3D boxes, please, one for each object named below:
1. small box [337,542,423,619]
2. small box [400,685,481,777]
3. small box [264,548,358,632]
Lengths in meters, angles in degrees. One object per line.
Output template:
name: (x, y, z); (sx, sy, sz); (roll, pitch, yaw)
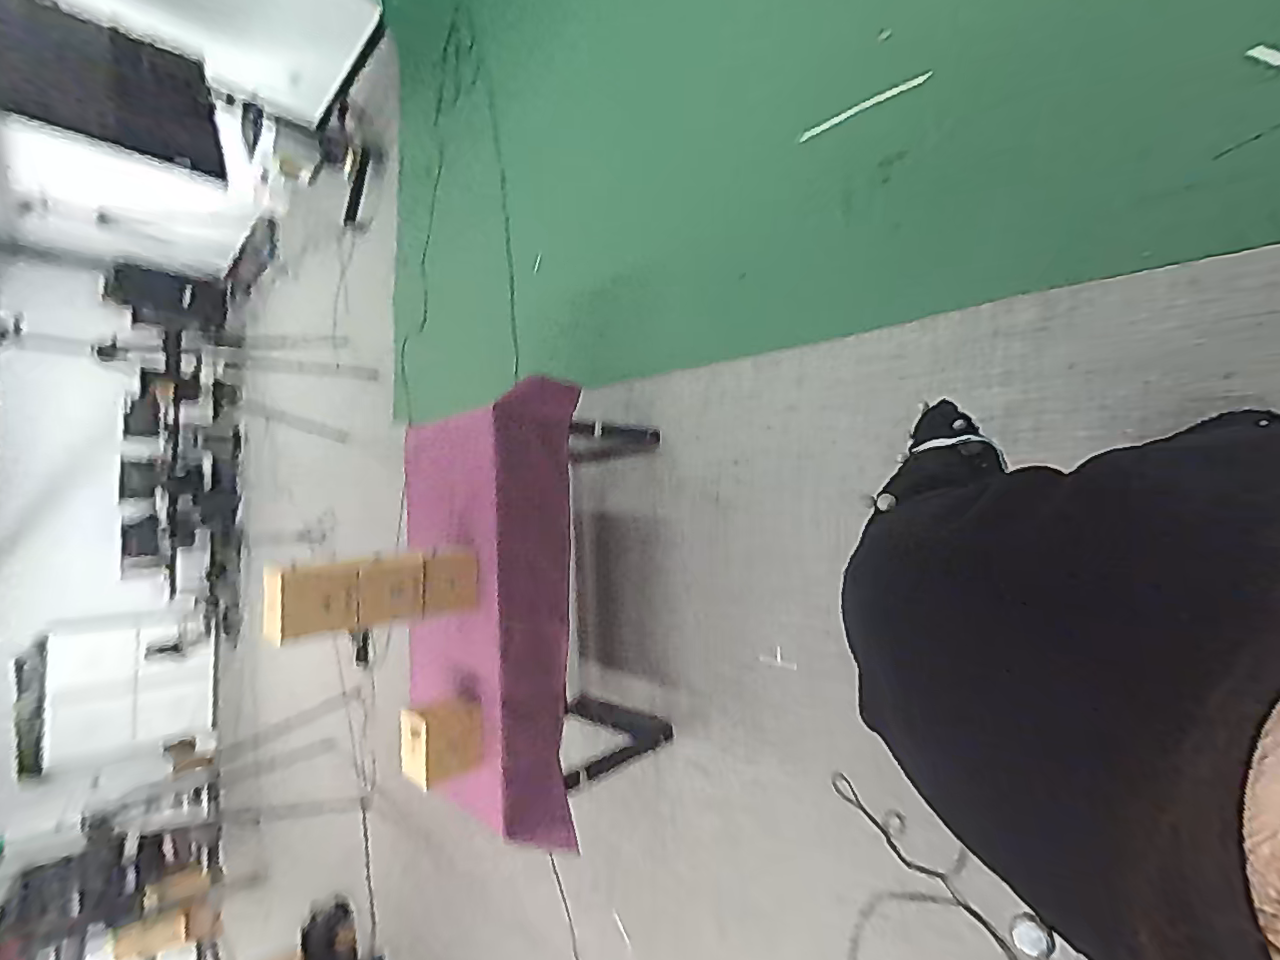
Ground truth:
small box: (-0.707, 0.265, 1.473); (0.179, 0.176, 0.168); (4, 92, 43)
small box: (-0.573, 0.713, 1.562); (0.168, 0.176, 0.179); (-3, 87, 44)
small box: (-0.822, 0.265, 1.353); (0.179, 0.176, 0.168); (2, 91, 45)
